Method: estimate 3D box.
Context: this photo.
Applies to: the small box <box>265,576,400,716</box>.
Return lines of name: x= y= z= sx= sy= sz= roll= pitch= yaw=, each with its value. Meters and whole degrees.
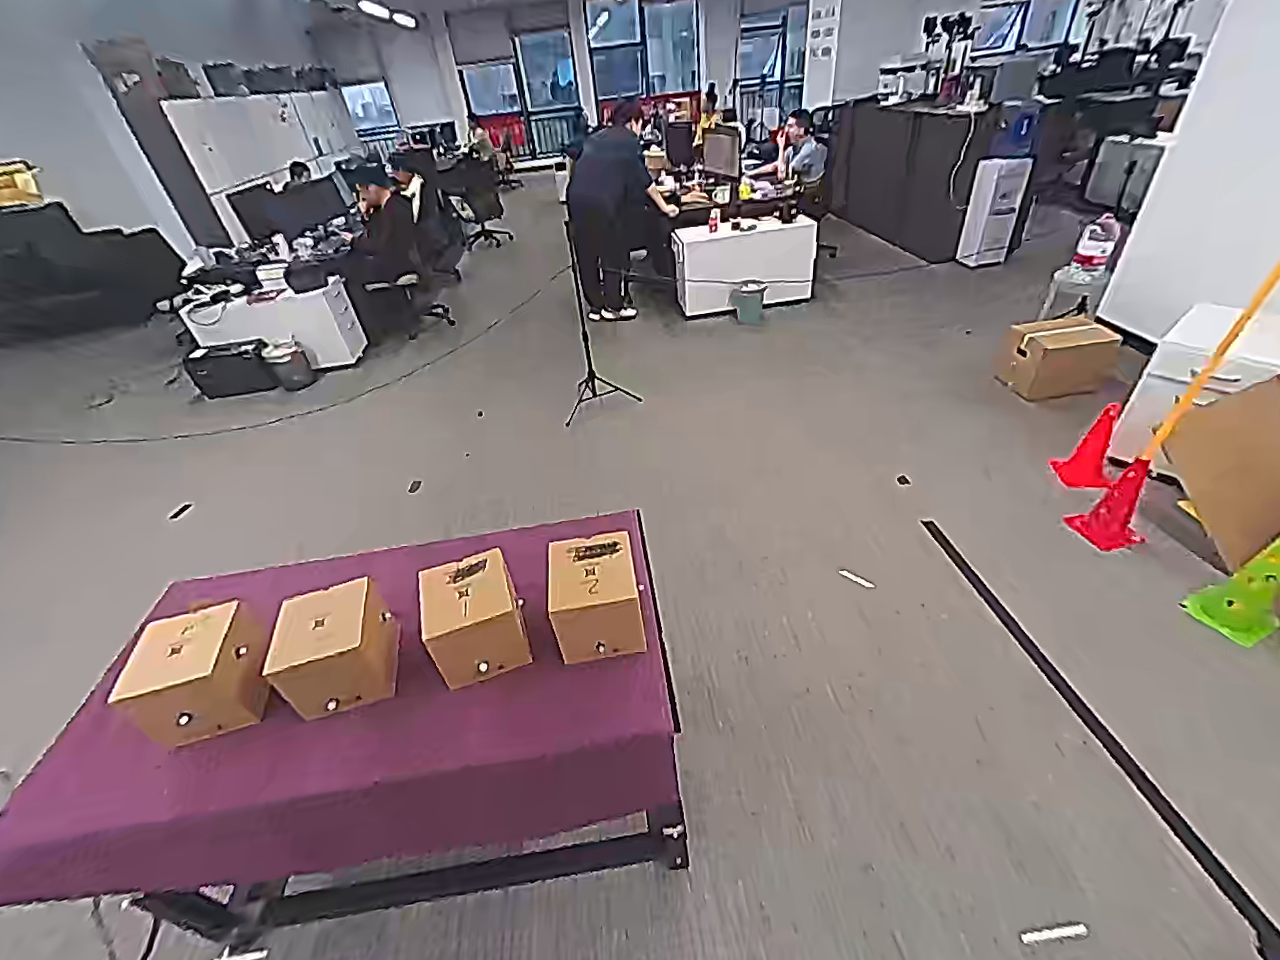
small box: x=-0.587 y=0.324 z=1.062 sx=0.168 sy=0.176 sz=0.179 roll=-15 pitch=38 yaw=-9

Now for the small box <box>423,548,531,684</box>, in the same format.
small box: x=-0.326 y=0.272 z=1.085 sx=0.168 sy=0.176 sz=0.179 roll=-16 pitch=39 yaw=-12

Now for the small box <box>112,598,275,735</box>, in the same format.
small box: x=-0.836 y=0.365 z=1.045 sx=0.168 sy=0.176 sz=0.179 roll=-13 pitch=38 yaw=-9
